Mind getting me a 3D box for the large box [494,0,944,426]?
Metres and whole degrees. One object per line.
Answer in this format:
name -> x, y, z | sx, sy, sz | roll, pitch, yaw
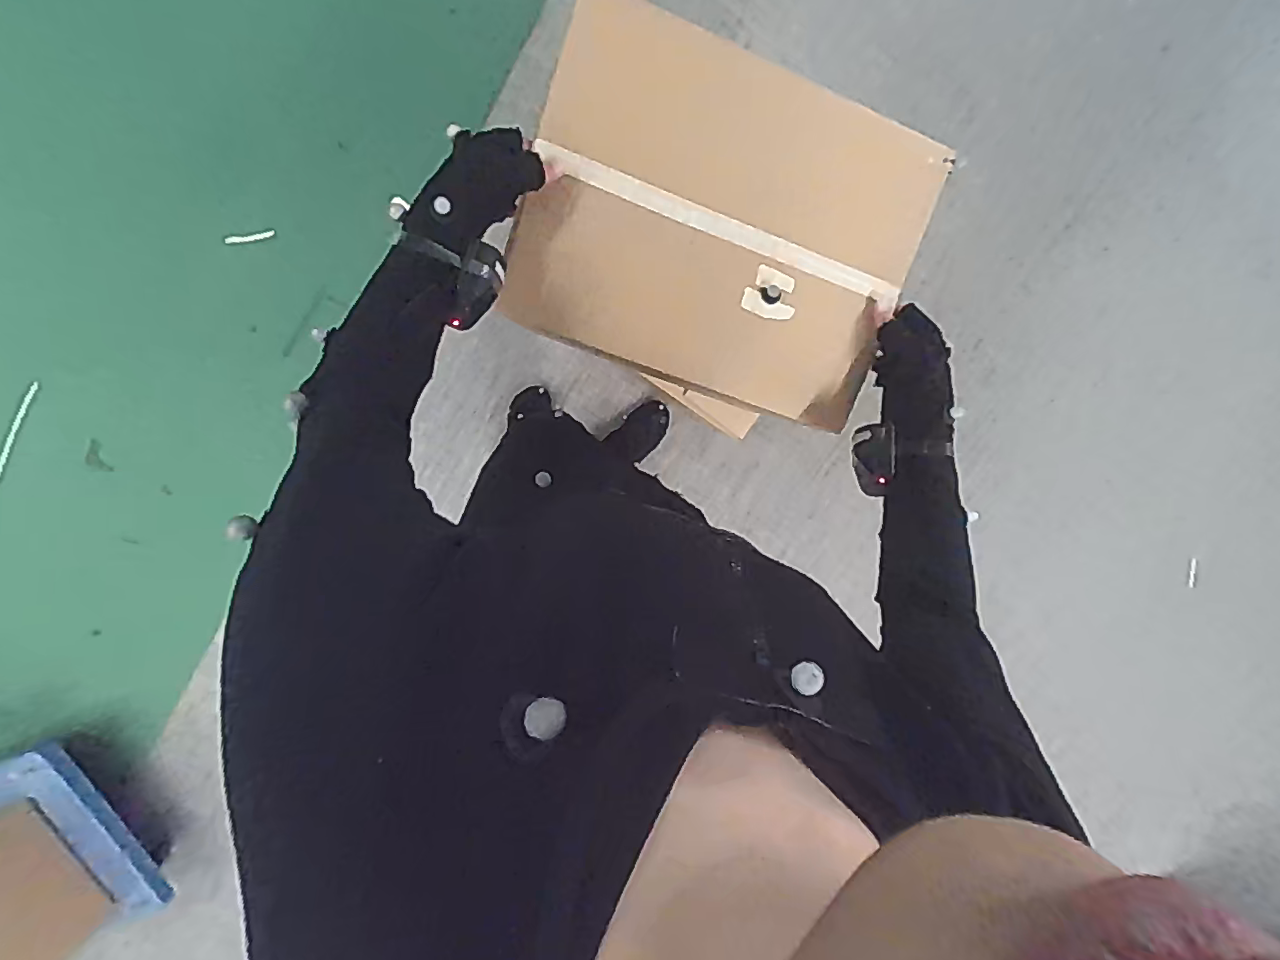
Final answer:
large box -> 0.066, -0.283, 0.693 | 0.408, 0.320, 0.320 | 18, 99, -10
